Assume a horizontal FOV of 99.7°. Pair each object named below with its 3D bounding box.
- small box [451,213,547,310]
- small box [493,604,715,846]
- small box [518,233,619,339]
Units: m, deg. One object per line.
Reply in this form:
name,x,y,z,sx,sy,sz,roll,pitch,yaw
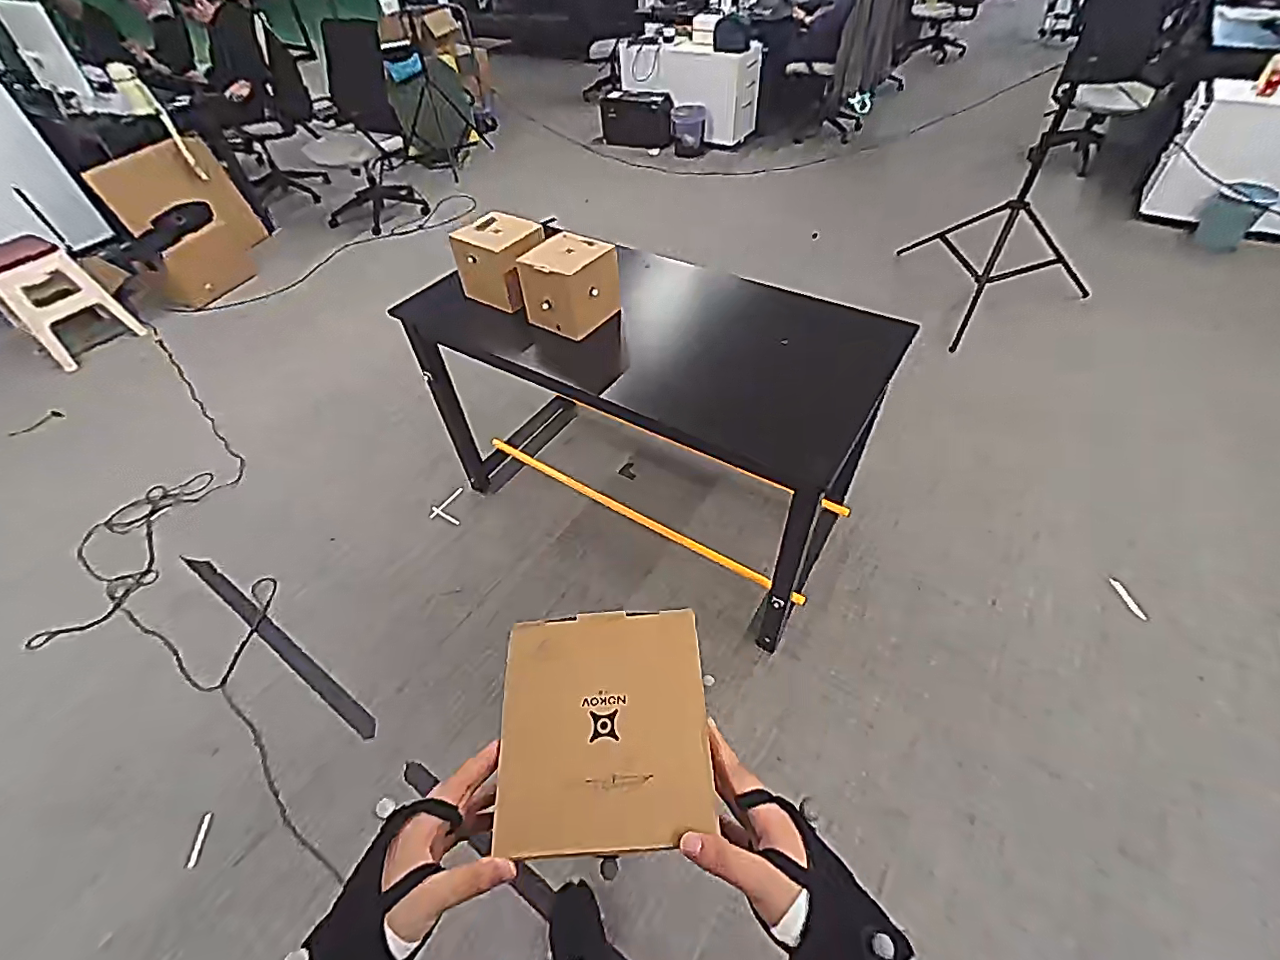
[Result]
small box,-0.354,-0.568,1.412,0.179,0.176,0.168,26,55,23
small box,-0.026,0.232,0.505,0.168,0.176,0.179,-4,56,1
small box,-0.164,-0.471,1.317,0.168,0.176,0.179,26,55,24
